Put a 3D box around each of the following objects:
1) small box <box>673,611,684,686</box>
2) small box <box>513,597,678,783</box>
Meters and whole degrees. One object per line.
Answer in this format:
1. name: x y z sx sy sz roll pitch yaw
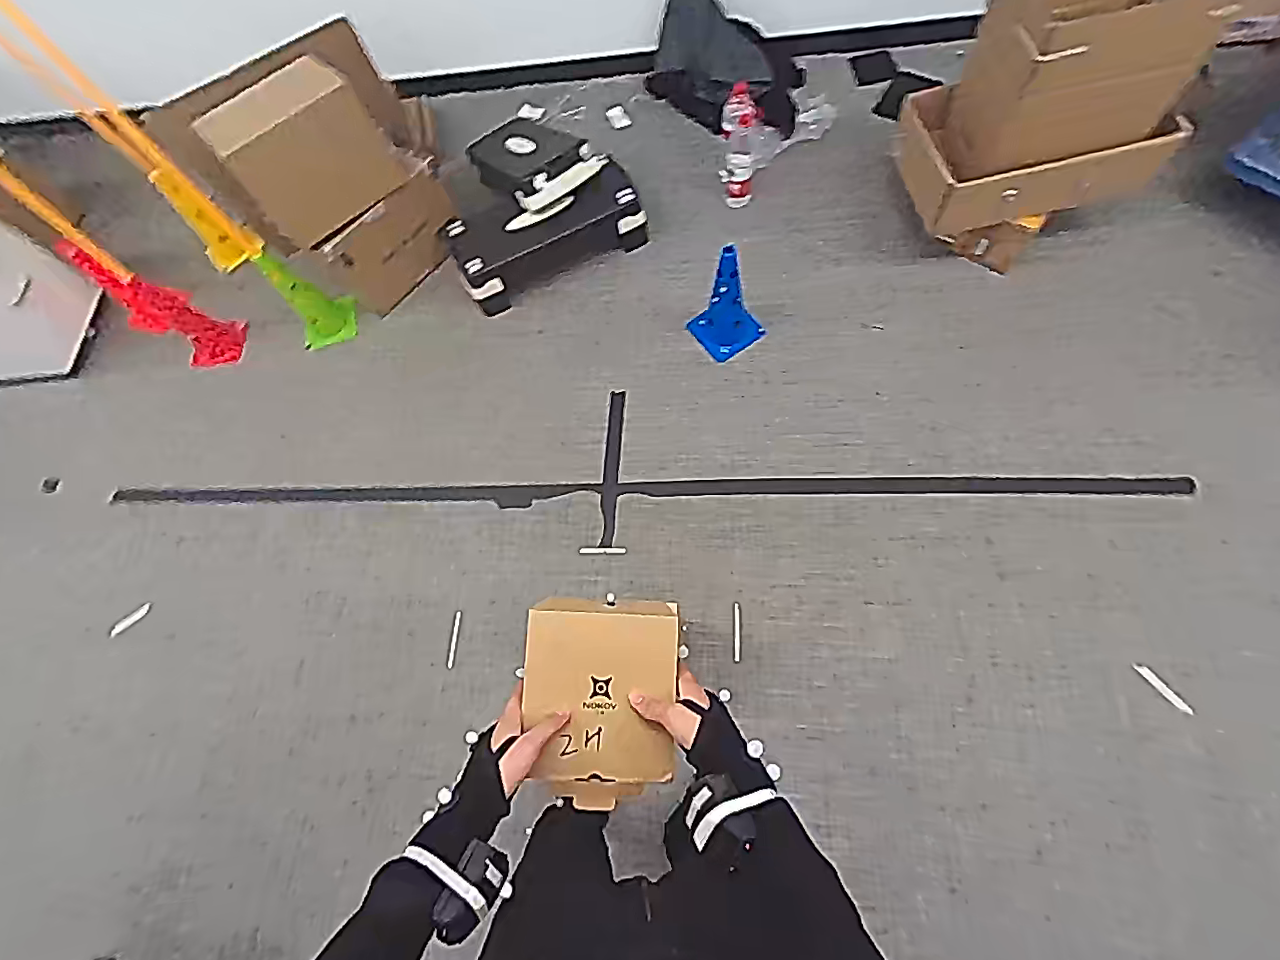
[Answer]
1. small box: 0.025 0.437 1.393 0.168 0.176 0.179 -3 68 7
2. small box: -0.049 0.237 0.651 0.168 0.176 0.179 3 83 -2
